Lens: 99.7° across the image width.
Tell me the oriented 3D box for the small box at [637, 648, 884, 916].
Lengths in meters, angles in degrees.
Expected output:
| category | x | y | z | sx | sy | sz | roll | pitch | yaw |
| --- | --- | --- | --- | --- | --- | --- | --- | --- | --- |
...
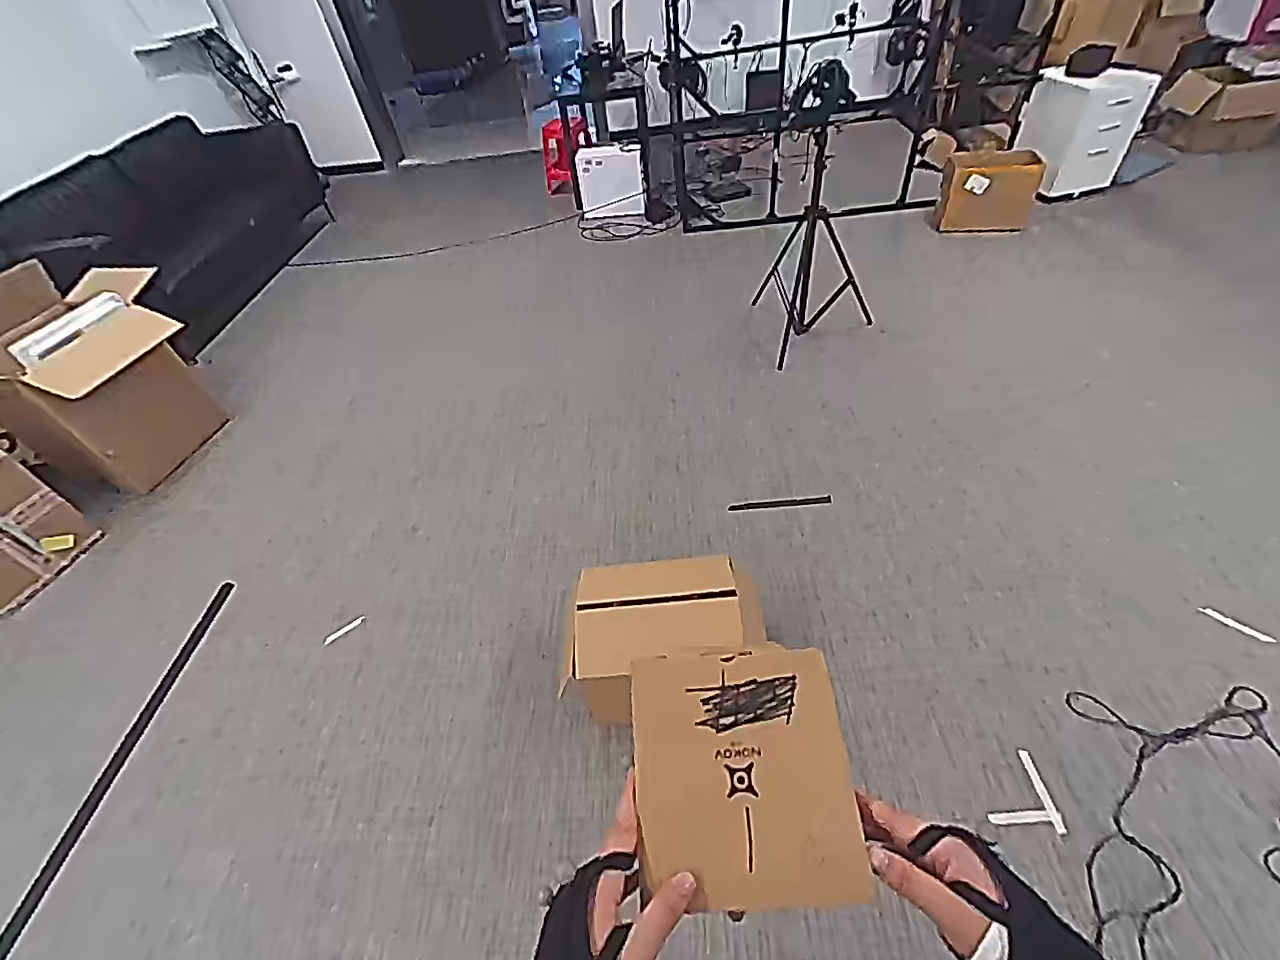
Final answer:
| category | x | y | z | sx | sy | sz | roll | pitch | yaw |
| --- | --- | --- | --- | --- | --- | --- | --- | --- | --- |
| small box | 0.084 | 0.263 | 0.477 | 0.168 | 0.176 | 0.179 | -4 | 57 | 1 |
